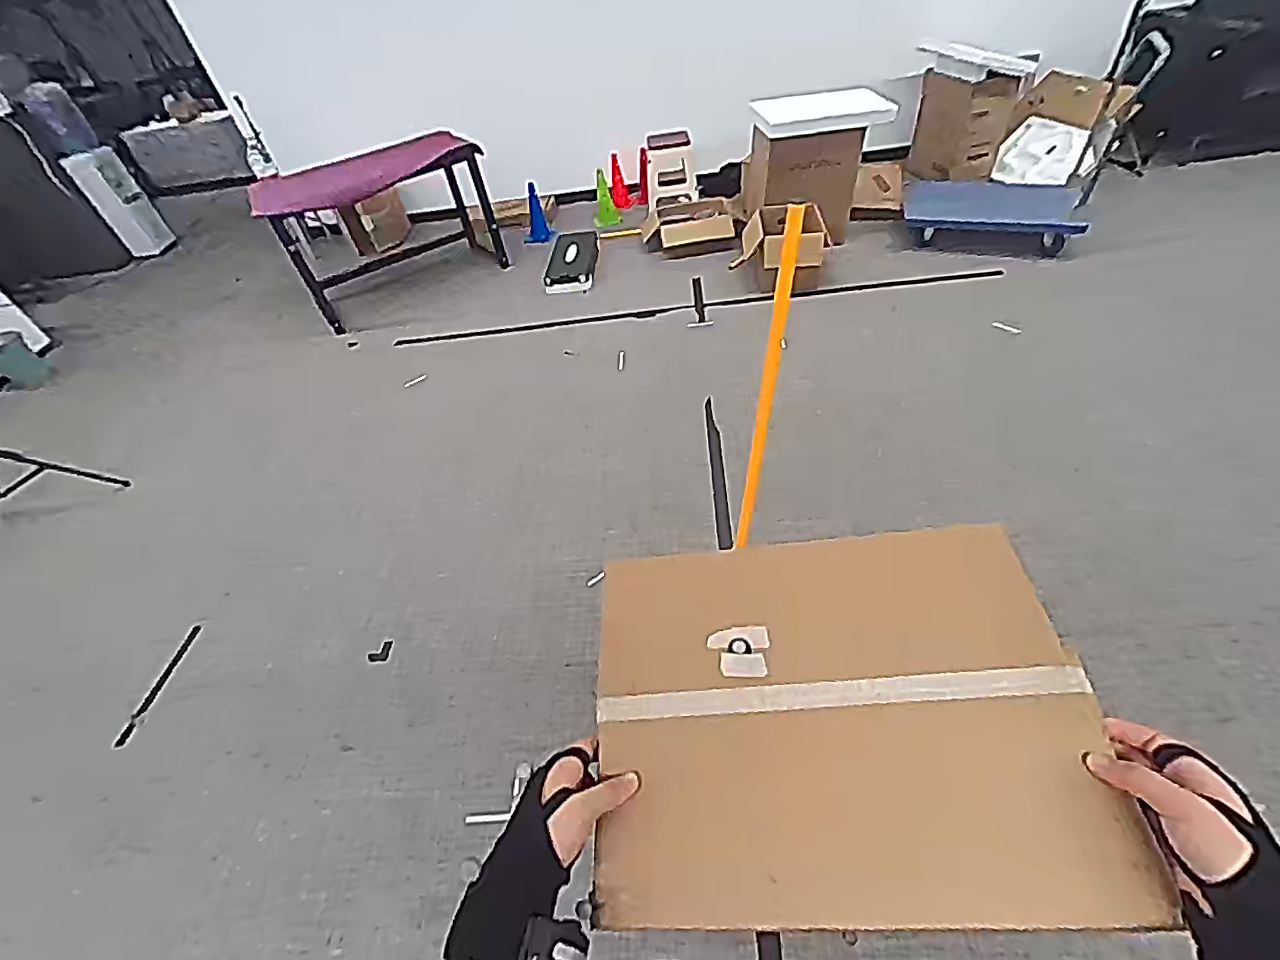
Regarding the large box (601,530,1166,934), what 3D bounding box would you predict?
[{"bbox_3d":[0.193,0.288,0.597,0.408,0.320,0.320,-8,51,9],"label":"large box"}]
